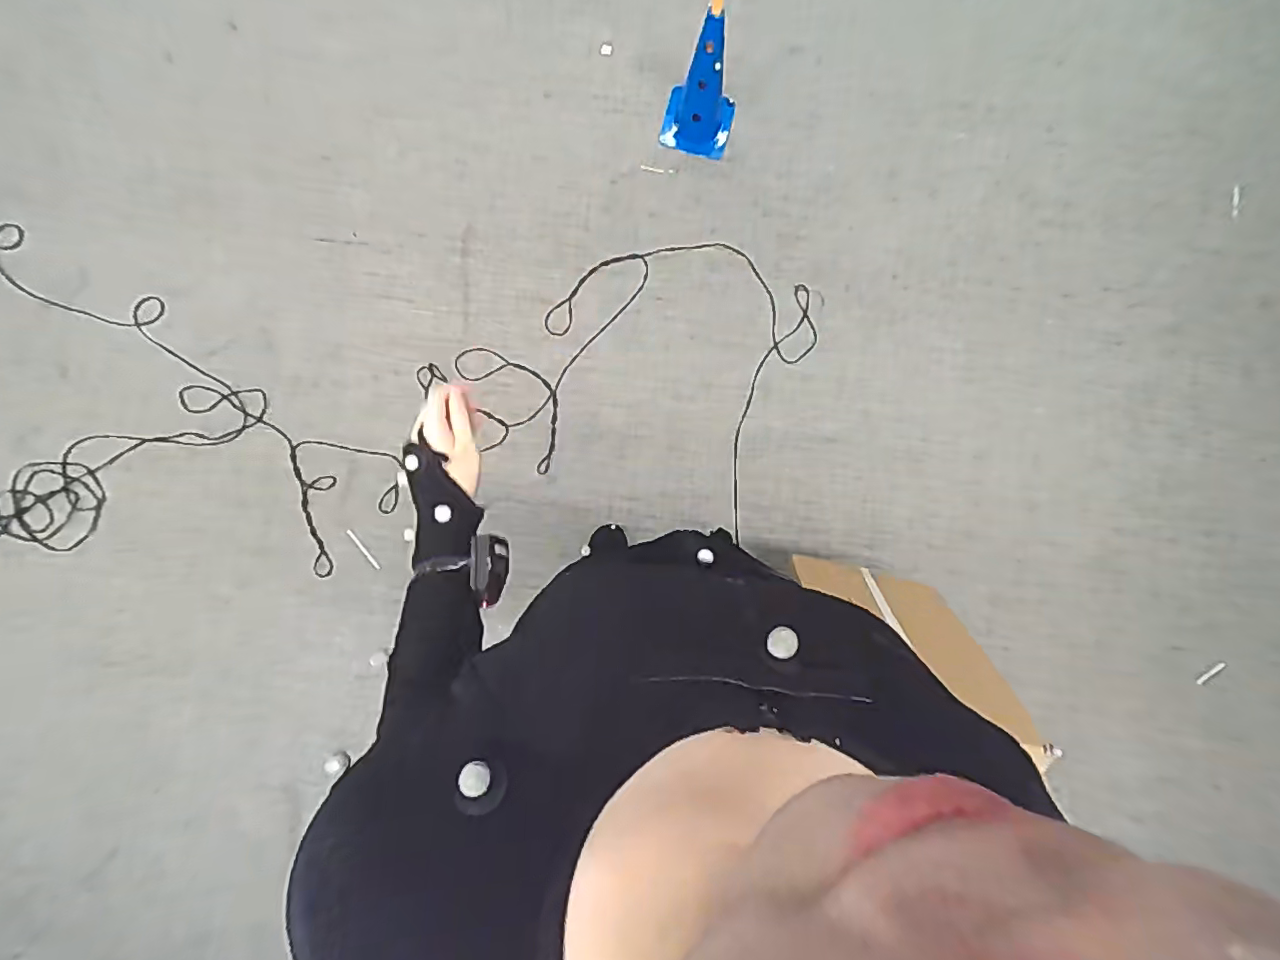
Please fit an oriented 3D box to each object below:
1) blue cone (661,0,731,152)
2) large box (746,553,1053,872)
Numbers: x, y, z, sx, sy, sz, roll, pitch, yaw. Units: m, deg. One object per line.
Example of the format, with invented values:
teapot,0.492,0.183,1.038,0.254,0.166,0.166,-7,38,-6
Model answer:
blue cone,0.174,-1.104,1.468,0.193,0.380,0.192,16,84,0
large box,0.407,0.394,0.988,0.320,0.408,0.320,11,115,-2
